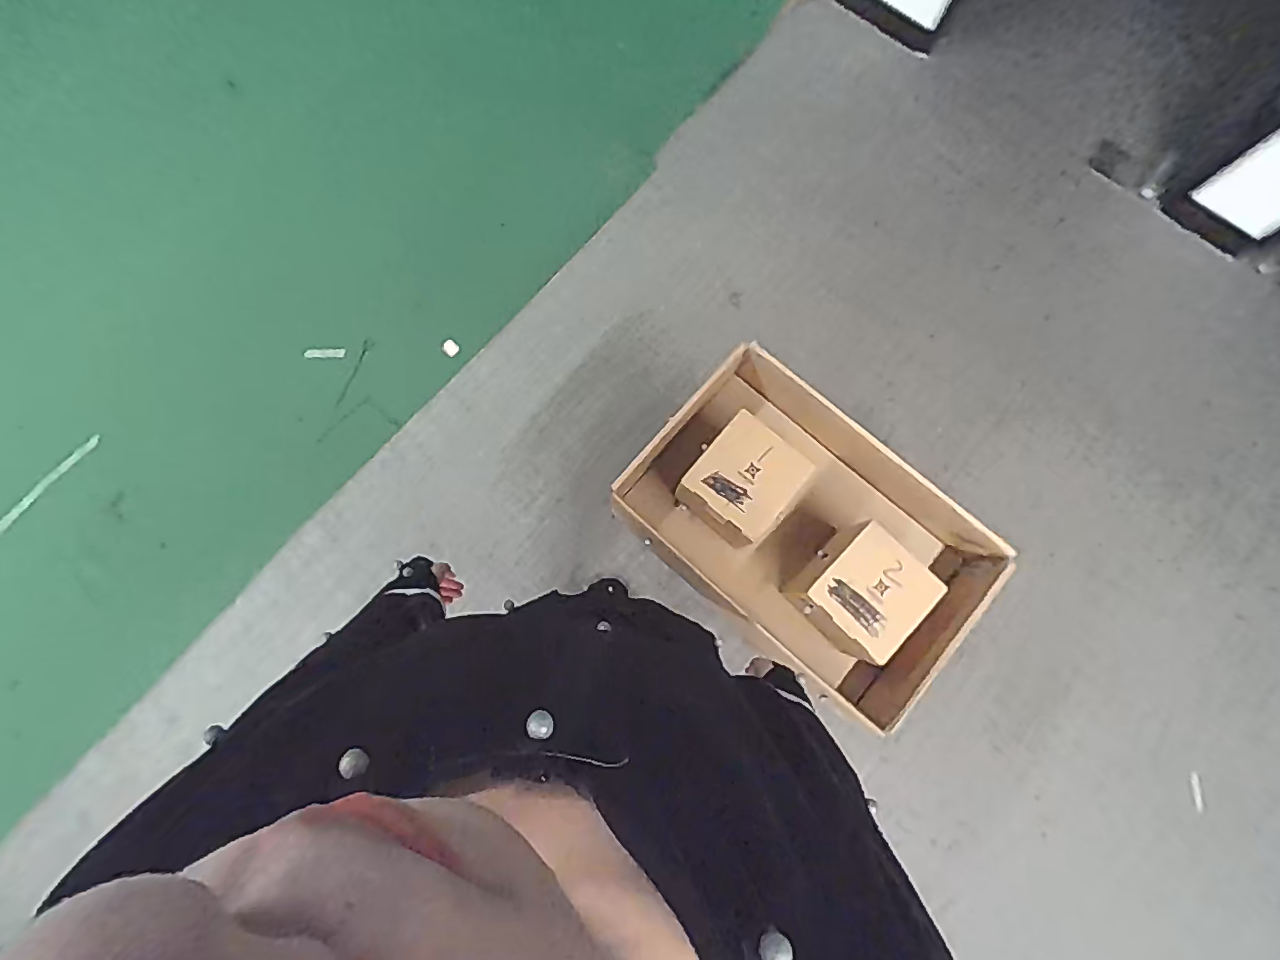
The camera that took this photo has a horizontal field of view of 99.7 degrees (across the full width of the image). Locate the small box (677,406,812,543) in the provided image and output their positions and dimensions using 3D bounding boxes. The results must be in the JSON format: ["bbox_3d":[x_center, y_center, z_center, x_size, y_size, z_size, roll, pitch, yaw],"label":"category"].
[{"bbox_3d":[0.182,0.000,1.002,0.168,0.176,0.179,37,81,7],"label":"small box"}]
